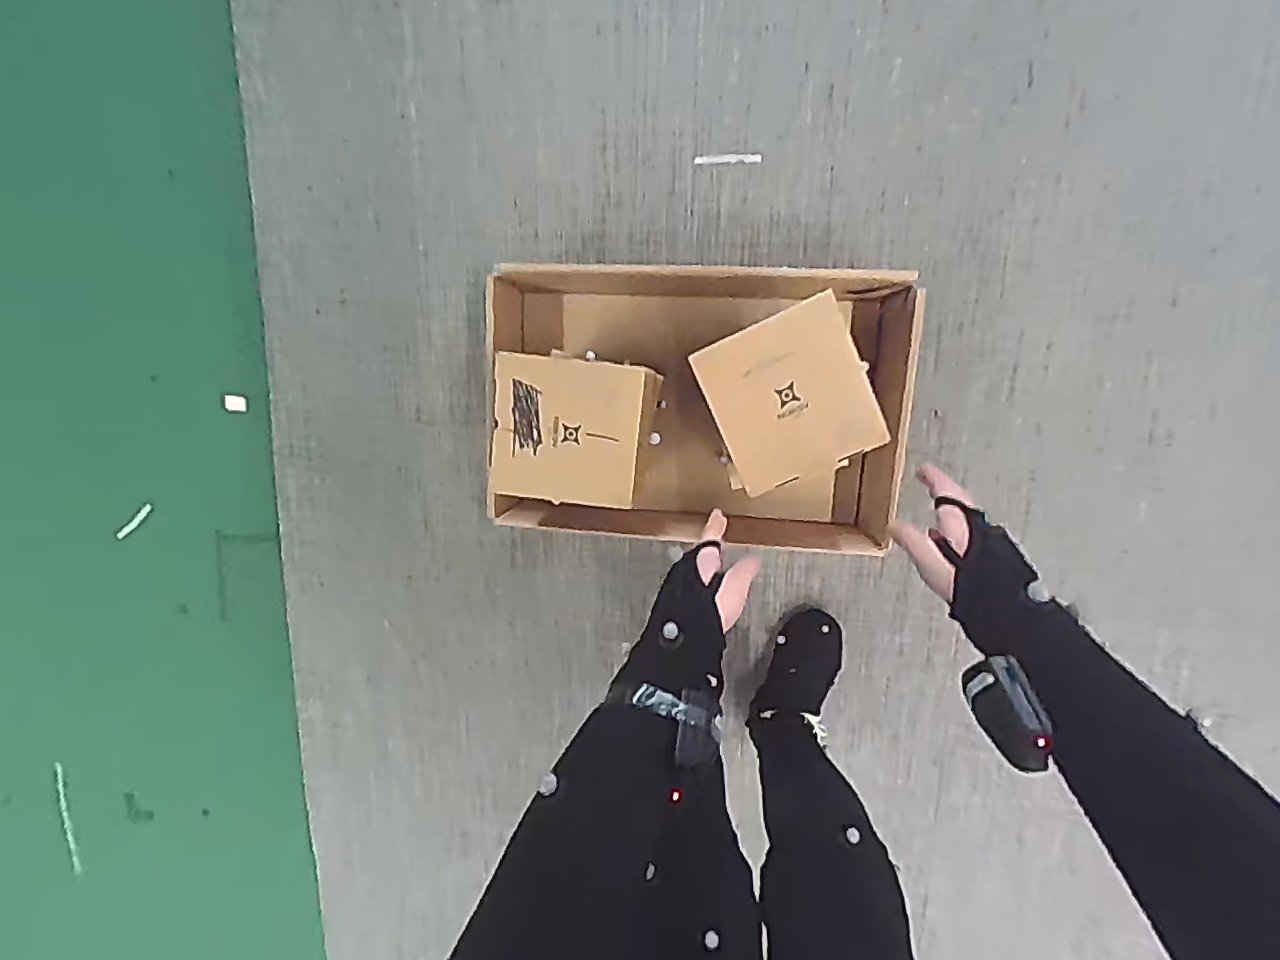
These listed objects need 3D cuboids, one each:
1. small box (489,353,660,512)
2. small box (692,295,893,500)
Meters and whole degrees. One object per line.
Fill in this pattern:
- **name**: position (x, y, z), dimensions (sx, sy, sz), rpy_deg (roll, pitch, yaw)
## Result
- **small box**: position (-0.074, -0.064, 0.696), dimensions (0.179, 0.176, 0.168), rpy_deg (7, 100, 5)
- **small box**: position (0.174, -0.098, 0.657), dimensions (0.168, 0.176, 0.179), rpy_deg (-23, 95, 11)
